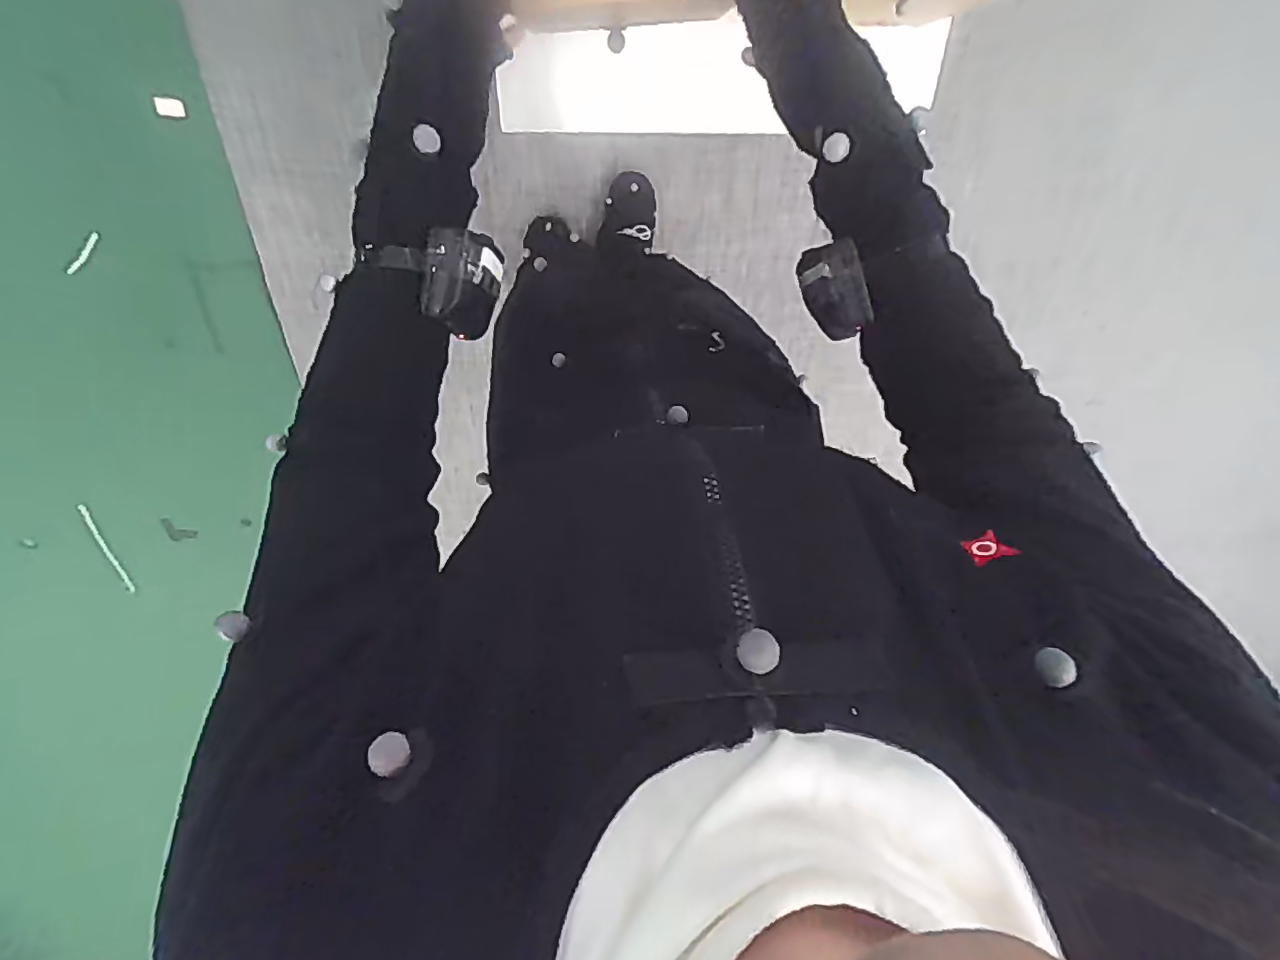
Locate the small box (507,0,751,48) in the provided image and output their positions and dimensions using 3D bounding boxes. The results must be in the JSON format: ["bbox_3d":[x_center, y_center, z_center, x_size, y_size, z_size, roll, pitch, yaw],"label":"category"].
[{"bbox_3d":[-0.013,-0.426,0.376,0.168,0.176,0.179,-4,125,3],"label":"small box"}]
